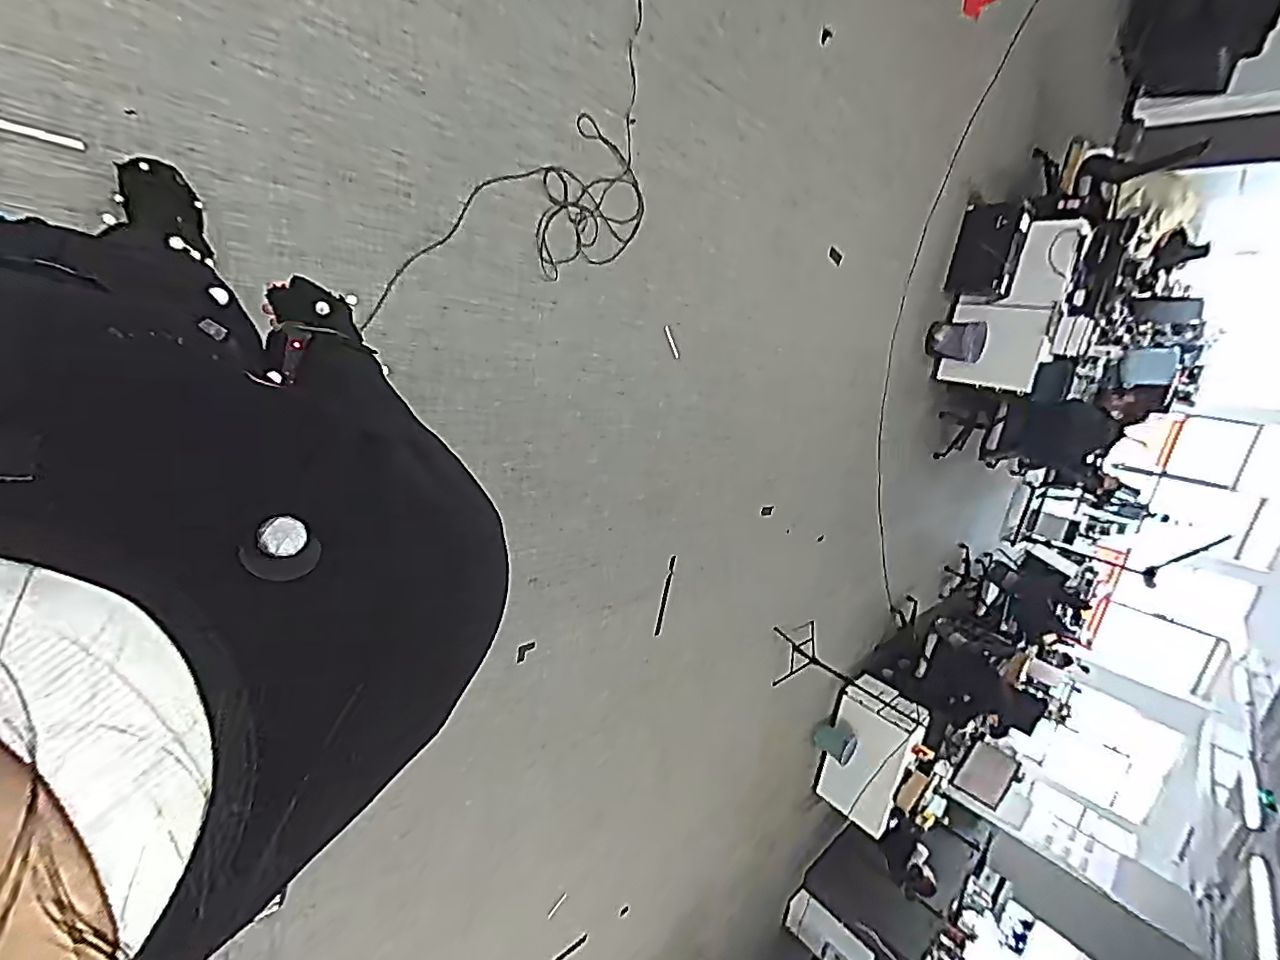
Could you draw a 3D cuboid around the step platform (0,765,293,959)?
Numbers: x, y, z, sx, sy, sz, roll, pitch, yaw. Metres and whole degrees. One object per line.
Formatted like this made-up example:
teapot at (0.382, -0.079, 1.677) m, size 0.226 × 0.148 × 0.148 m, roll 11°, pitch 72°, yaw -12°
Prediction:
step platform at (-1.196, 0.952, 1.231) m, size 0.684 × 0.204 × 0.286 m, roll -6°, pitch 110°, yaw -42°
